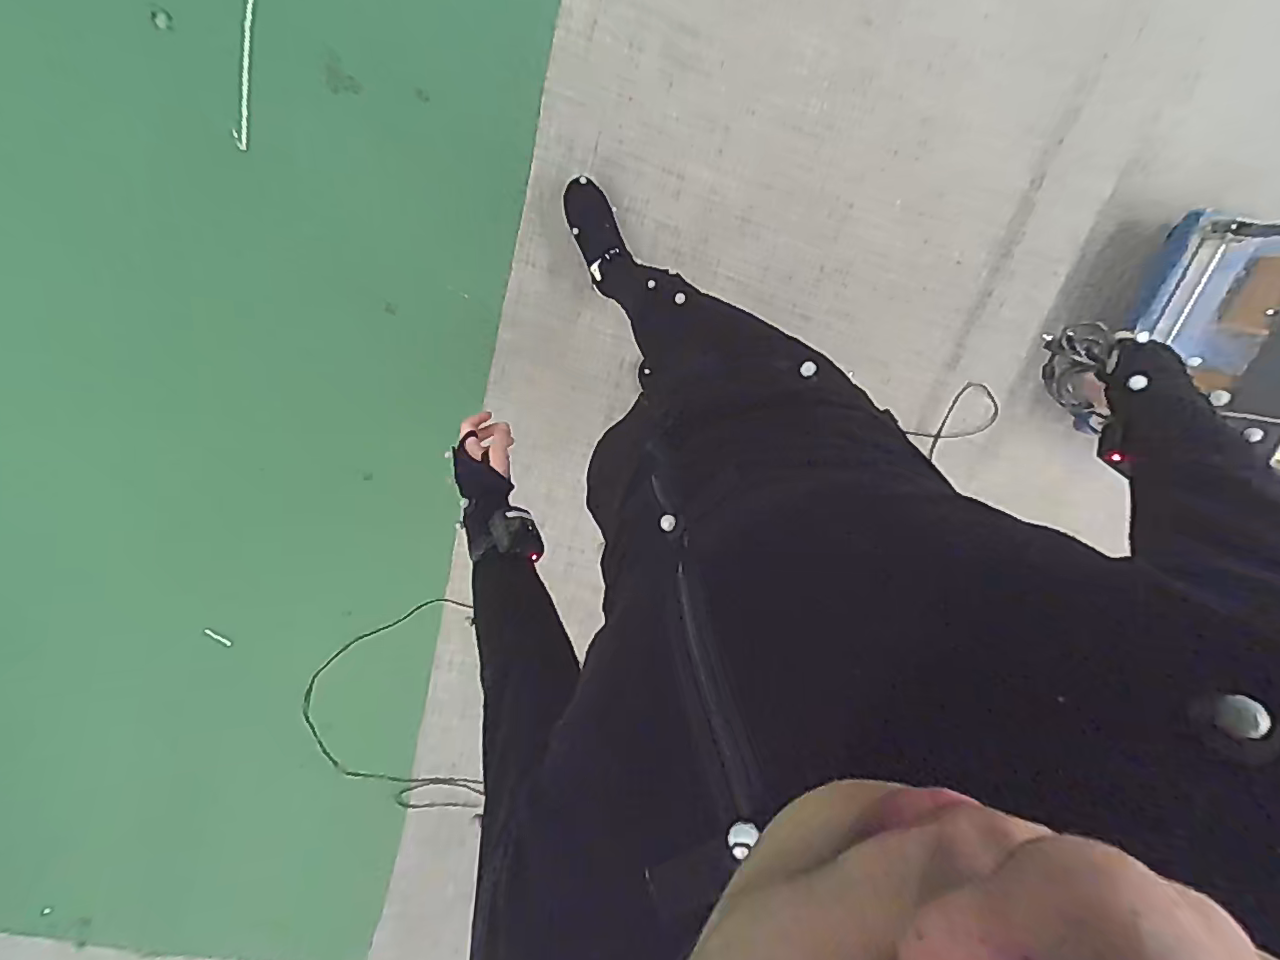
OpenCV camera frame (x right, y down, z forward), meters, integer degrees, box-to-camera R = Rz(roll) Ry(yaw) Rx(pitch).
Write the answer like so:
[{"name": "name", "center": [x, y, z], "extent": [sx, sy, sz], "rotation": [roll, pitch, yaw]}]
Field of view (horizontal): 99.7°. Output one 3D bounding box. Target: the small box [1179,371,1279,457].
[{"name": "small box", "center": [1.551, -0.169, 1.364], "extent": [0.179, 0.176, 0.168], "rotation": [13, 110, -7]}]
